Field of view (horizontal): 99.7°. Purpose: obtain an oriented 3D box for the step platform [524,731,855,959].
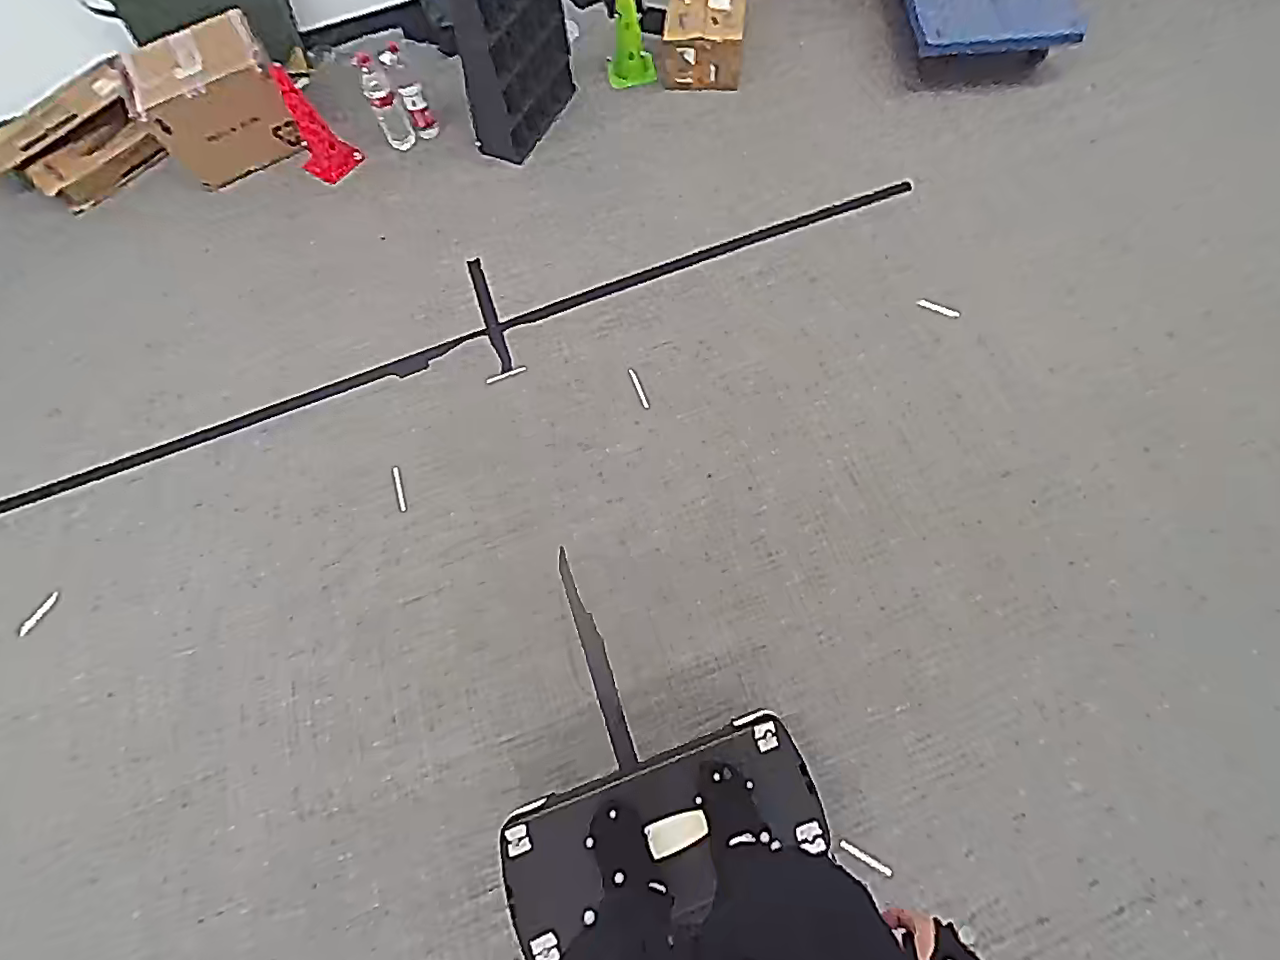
[{"bbox_3d":[0.096,0.787,1.171,0.684,0.204,0.286,-16,66,-4],"label":"step platform"}]
